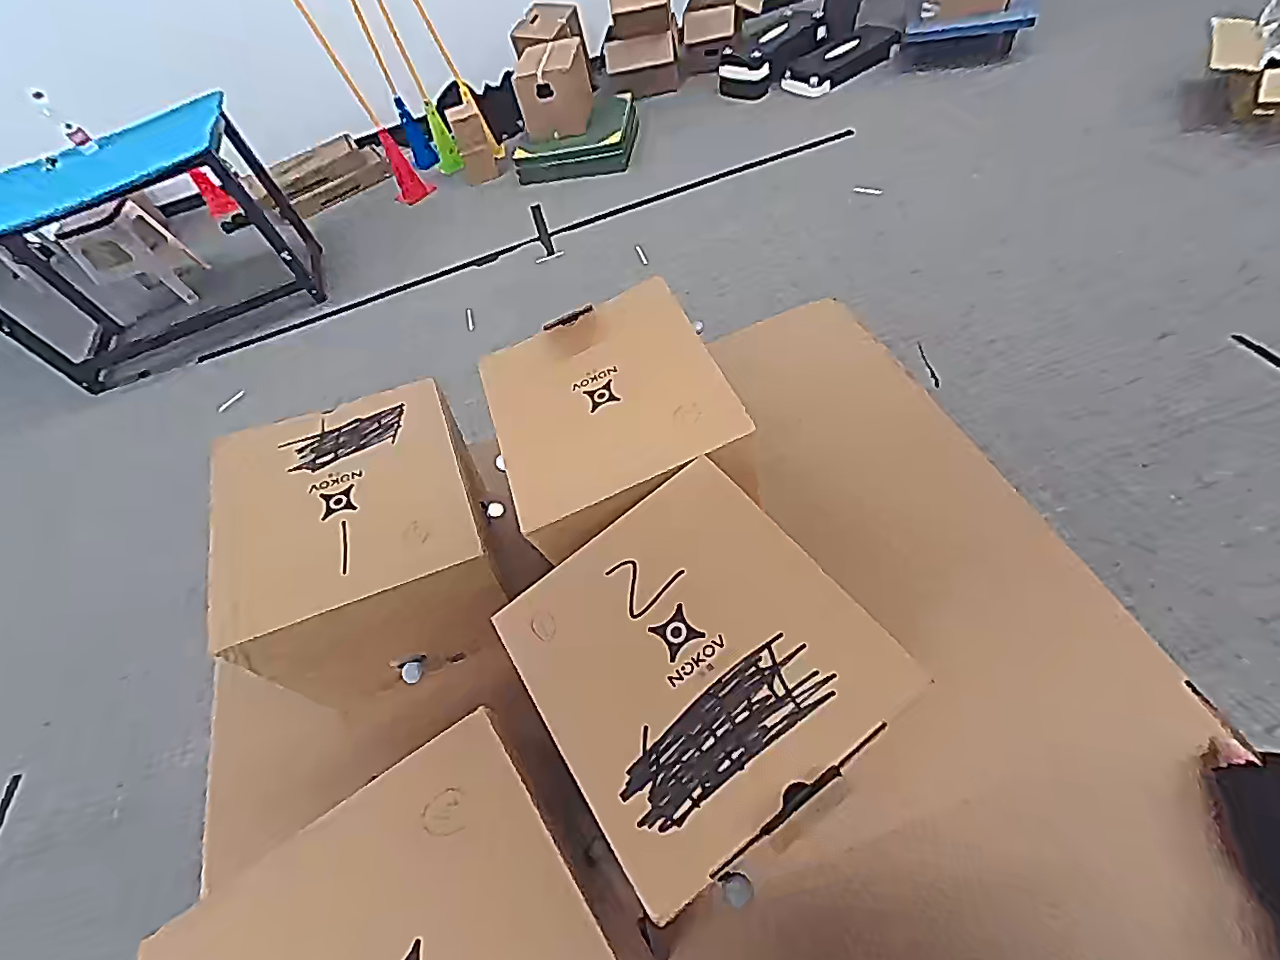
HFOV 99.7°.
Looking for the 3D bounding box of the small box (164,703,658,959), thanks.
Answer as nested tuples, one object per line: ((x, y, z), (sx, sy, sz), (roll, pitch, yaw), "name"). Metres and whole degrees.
((-0.099, 0.260, 0.302), (0.179, 0.176, 0.168), (-31, 61, -17), "small box")
